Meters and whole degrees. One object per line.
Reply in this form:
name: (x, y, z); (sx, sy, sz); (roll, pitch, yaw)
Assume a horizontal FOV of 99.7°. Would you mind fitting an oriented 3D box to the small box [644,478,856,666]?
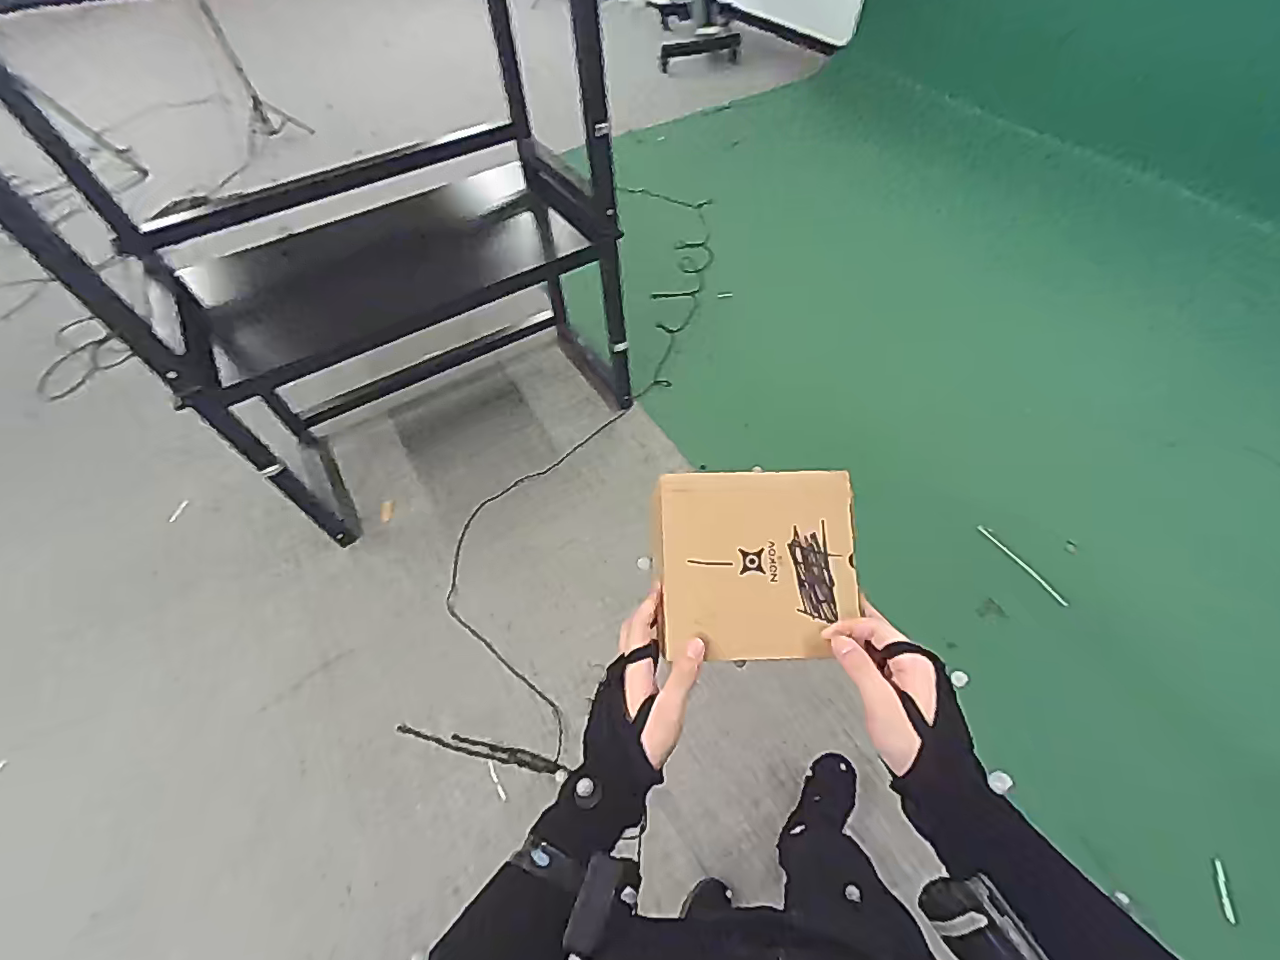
small box: (0.097, 0.093, 0.558); (0.179, 0.176, 0.168); (-2, 78, -2)
